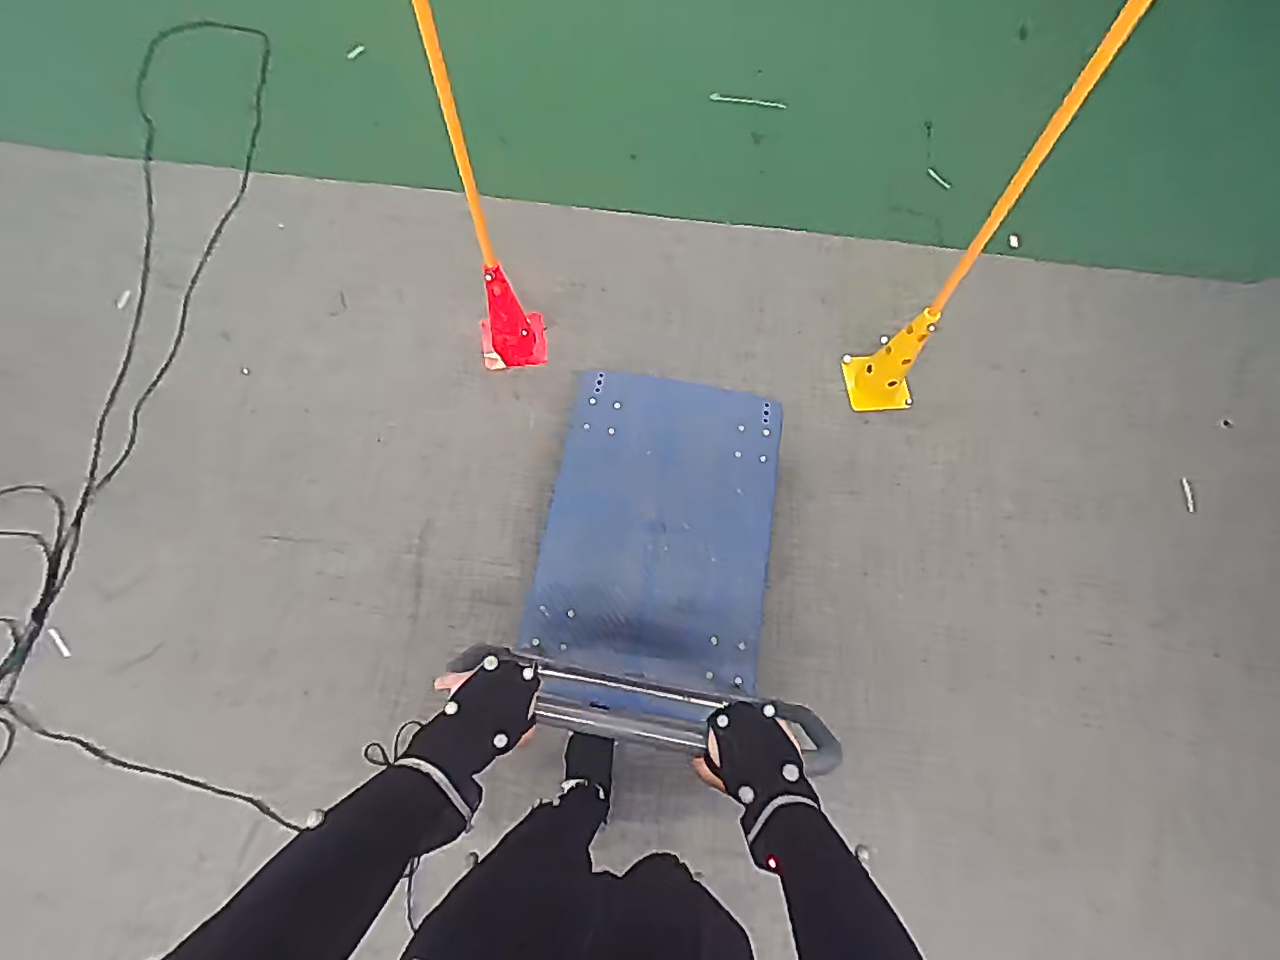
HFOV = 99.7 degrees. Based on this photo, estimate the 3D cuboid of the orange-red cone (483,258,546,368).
[{"bbox_3d":[-0.405,-0.514,1.601,0.199,0.360,0.198,-8,70,-3],"label":"orange-red cone"}]
